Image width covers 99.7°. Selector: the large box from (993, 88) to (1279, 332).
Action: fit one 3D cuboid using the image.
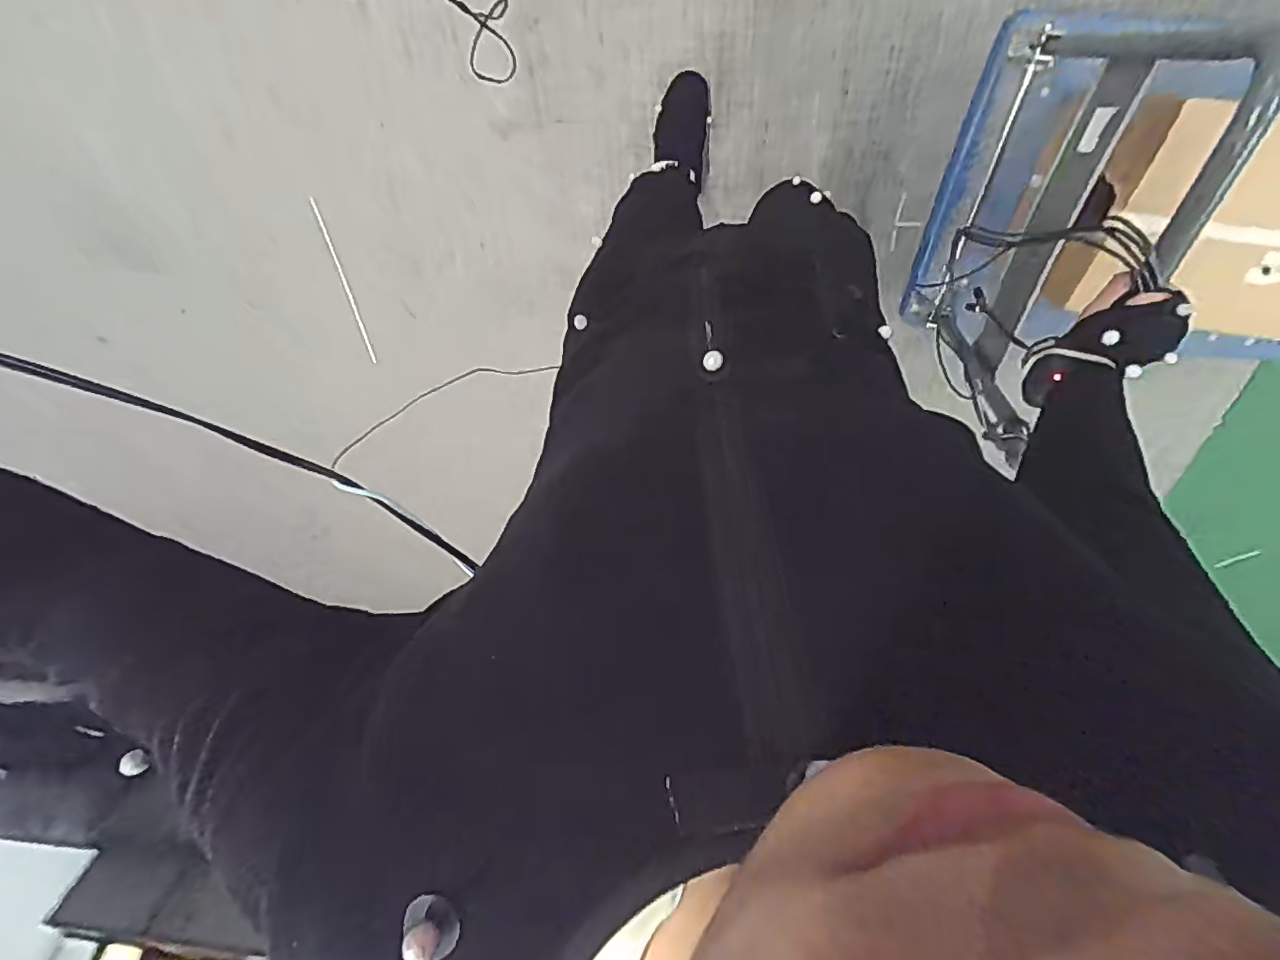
[{"bbox_3d":[0.953,-0.489,0.962,0.408,0.320,0.320,8,129,1],"label":"large box"}]
